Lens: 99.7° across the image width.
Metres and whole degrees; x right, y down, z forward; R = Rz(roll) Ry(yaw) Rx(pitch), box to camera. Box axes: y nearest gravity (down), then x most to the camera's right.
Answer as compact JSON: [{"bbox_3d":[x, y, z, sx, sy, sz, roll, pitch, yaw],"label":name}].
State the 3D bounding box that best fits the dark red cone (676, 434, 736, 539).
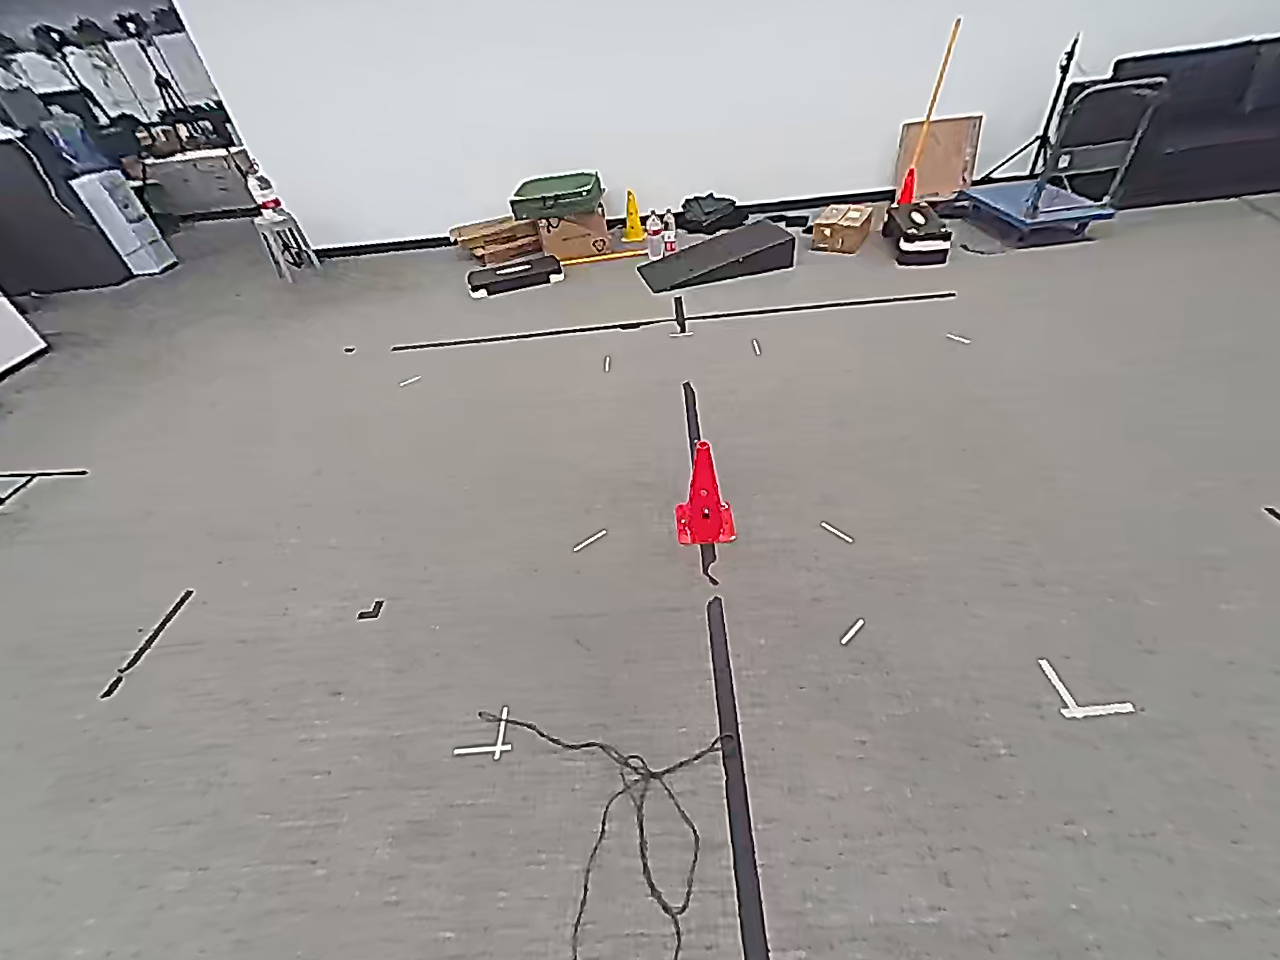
[{"bbox_3d":[0.213,0.008,1.815,0.201,0.394,0.202,-6,41,4],"label":"dark red cone"}]
